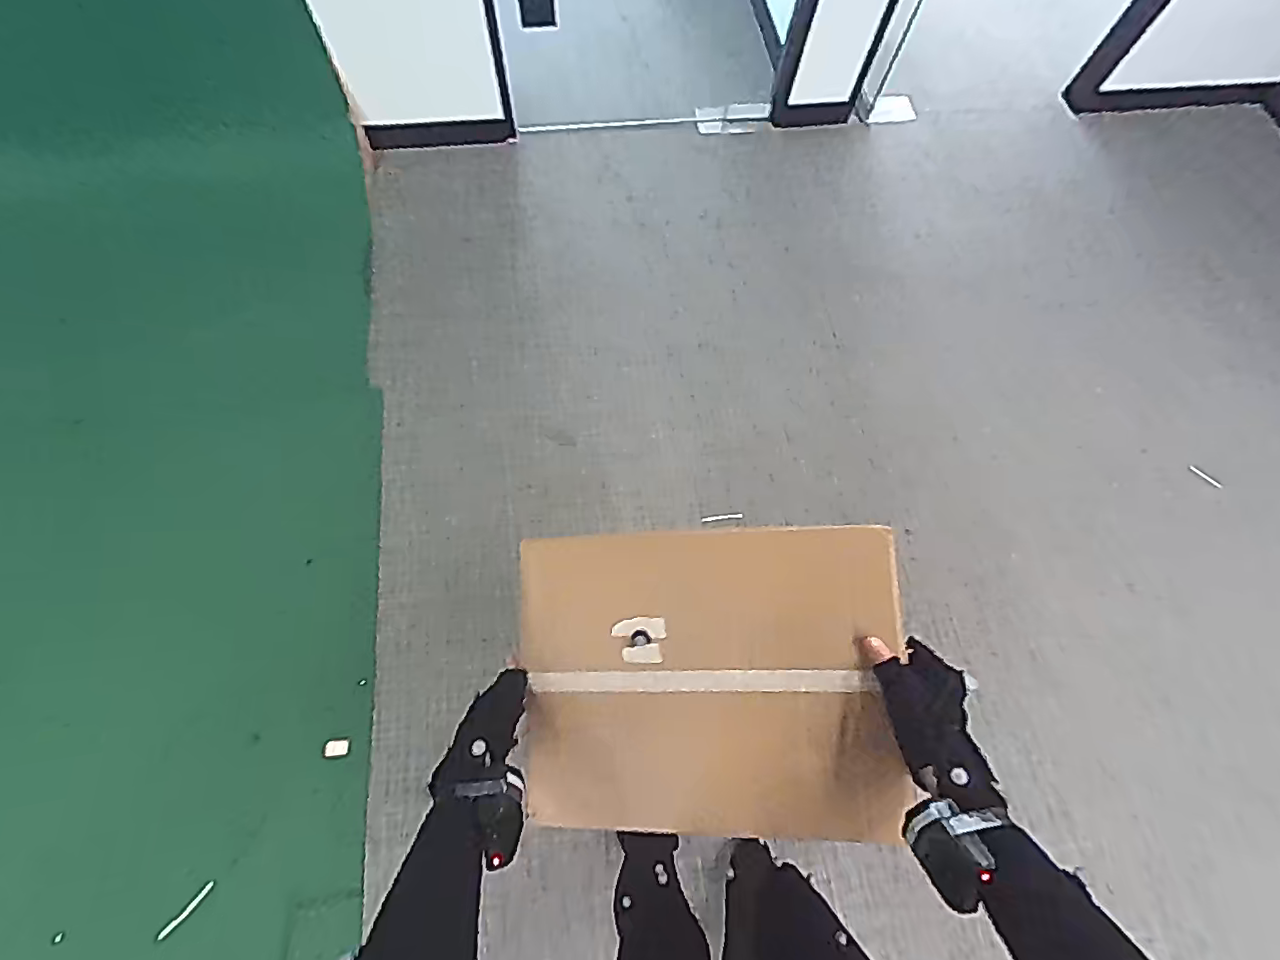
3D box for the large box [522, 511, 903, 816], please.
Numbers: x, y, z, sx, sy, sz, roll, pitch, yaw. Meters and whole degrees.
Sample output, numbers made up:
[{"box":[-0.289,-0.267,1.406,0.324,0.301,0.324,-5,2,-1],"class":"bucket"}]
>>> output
[{"box":[0.090,0.208,0.734,0.408,0.320,0.320,-3,85,10],"class":"large box"}]
